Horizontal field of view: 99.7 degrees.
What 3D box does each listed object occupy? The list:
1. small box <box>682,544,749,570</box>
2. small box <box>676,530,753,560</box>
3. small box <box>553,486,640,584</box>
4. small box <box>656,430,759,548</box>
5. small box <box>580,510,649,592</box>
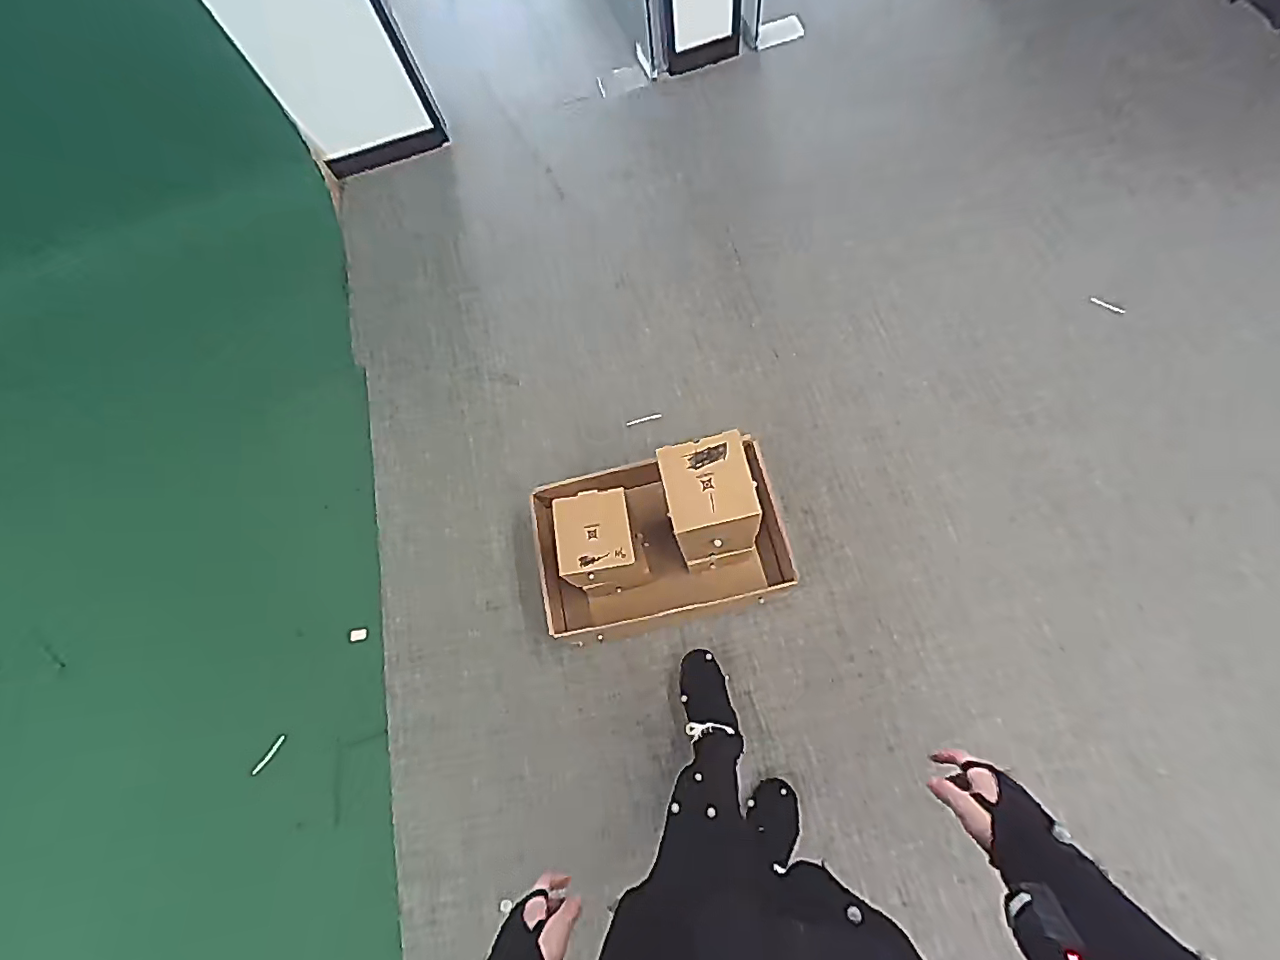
[{"bbox_3d":[0.179,0.129,1.405,0.168,0.176,0.179,-14,70,2],"label":"small box"},{"bbox_3d":[0.157,0.073,1.254,0.168,0.176,0.179,-13,70,4],"label":"small box"},{"bbox_3d":[-0.098,0.133,1.258,0.168,0.176,0.179,-10,69,3],"label":"small box"},{"bbox_3d":[0.135,0.025,1.098,0.168,0.176,0.179,-14,70,4],"label":"small box"},{"bbox_3d":[-0.077,0.188,1.412,0.168,0.176,0.179,-14,70,0],"label":"small box"}]
